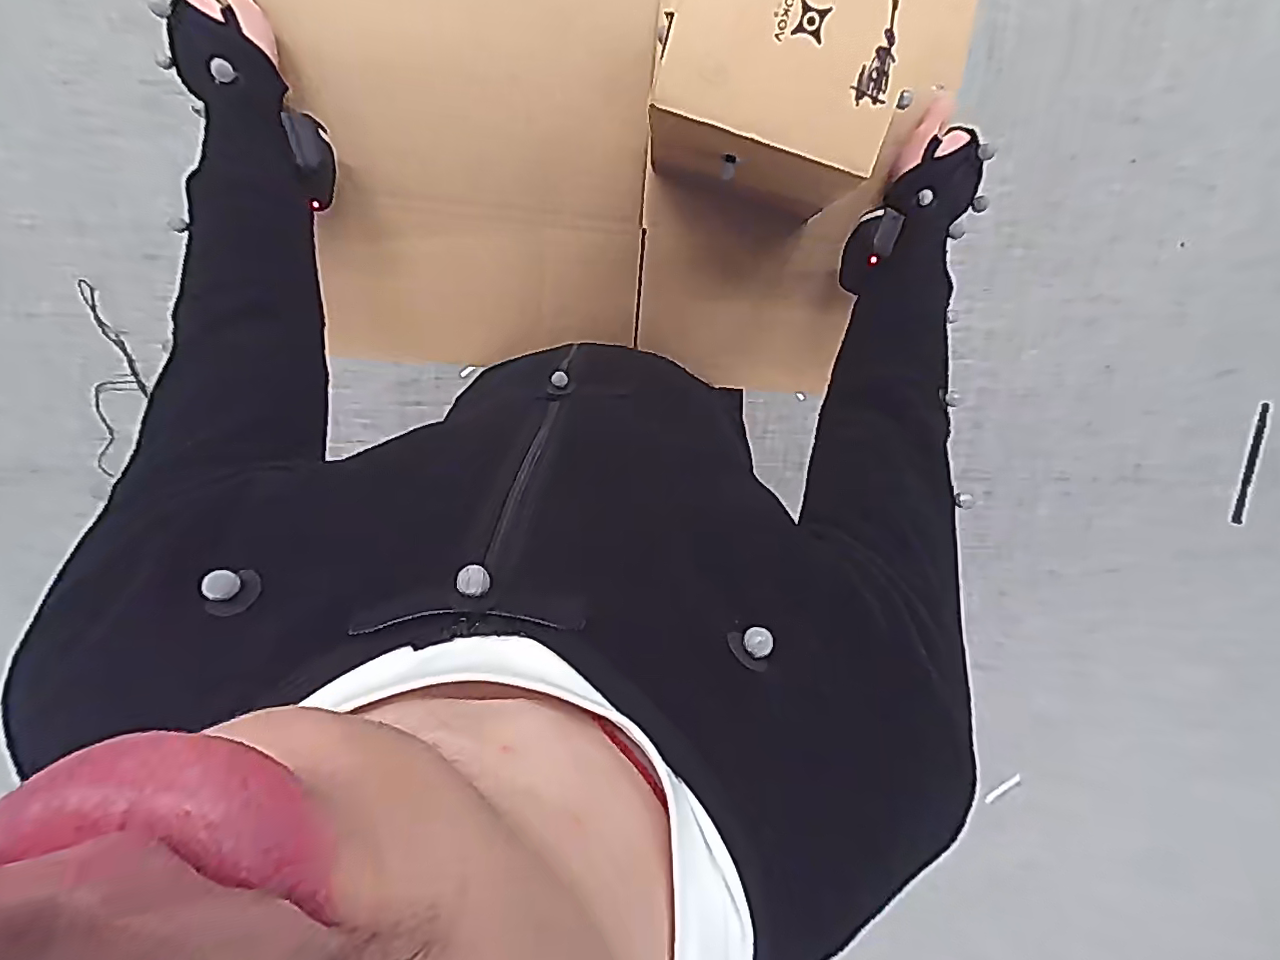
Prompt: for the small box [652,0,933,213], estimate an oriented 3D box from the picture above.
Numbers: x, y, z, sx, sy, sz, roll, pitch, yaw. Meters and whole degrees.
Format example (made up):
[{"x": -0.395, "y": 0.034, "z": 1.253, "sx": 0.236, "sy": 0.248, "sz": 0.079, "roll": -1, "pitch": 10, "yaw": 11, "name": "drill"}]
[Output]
[{"x": 0.118, "y": -0.351, "z": 0.466, "sx": 0.179, "sy": 0.176, "sz": 0.168, "roll": 17, "pitch": 106, "yaw": -2, "name": "small box"}]
